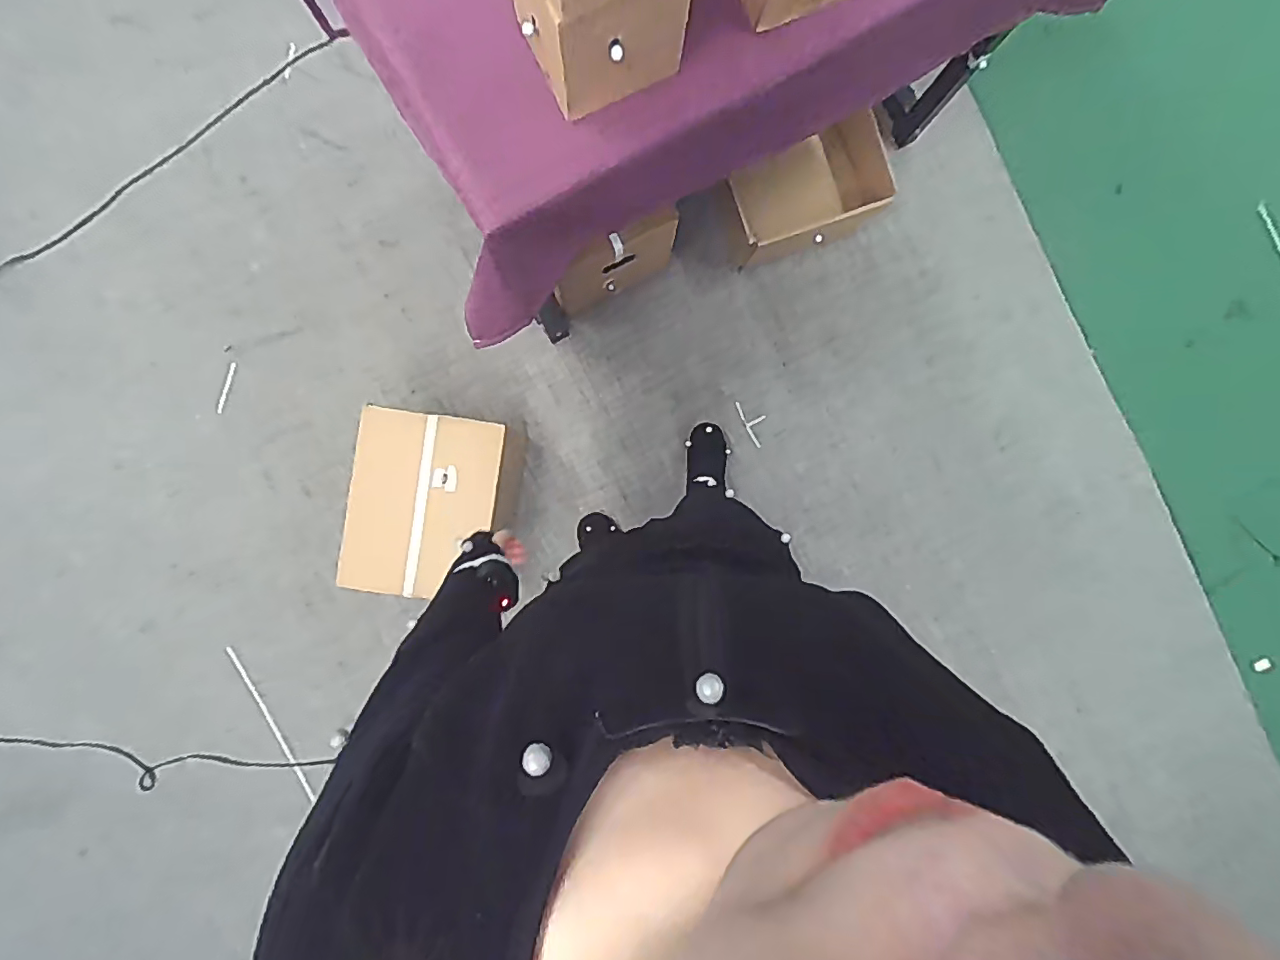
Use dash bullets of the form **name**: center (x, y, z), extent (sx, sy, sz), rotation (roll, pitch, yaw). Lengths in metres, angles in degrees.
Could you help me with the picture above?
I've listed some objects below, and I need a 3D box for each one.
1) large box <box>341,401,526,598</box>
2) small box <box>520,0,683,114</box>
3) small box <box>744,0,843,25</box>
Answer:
- **large box**: center (-0.480, 0.047, 1.326), extent (0.320, 0.320, 0.408), rotation (8, 90, -4)
- **small box**: center (-0.053, -0.609, 0.675), extent (0.179, 0.176, 0.168), rotation (-26, 92, -1)
- **small box**: center (0.211, -0.747, 0.687), extent (0.168, 0.176, 0.179), rotation (-22, 92, -2)
